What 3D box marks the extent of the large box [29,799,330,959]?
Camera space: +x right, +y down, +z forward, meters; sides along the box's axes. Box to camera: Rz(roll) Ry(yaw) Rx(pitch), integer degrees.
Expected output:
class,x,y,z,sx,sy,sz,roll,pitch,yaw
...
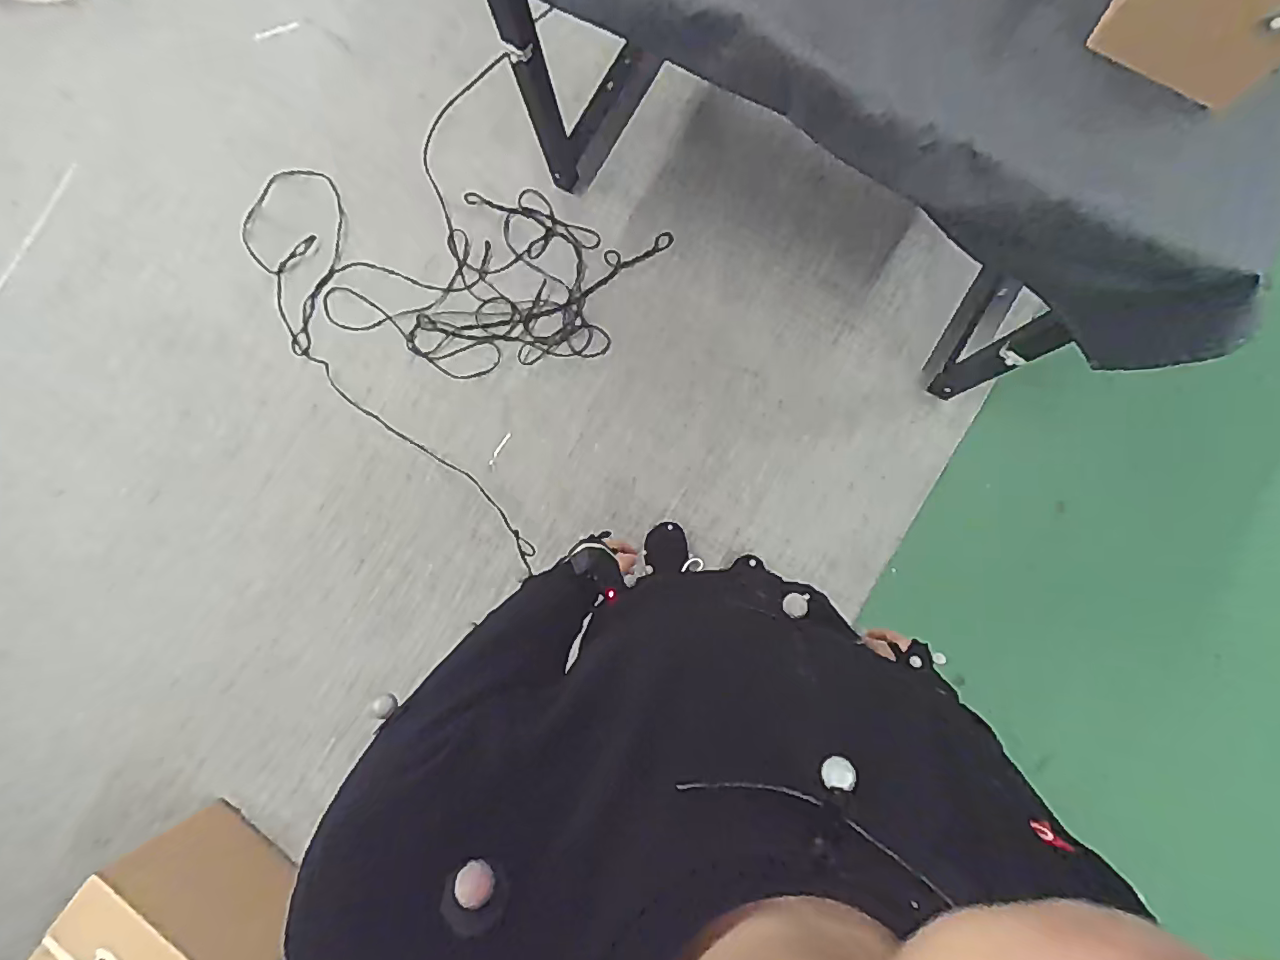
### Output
class,x,y,z,sx,sy,sz,roll,pitch,yaw
large box,-1.031,1.044,1.232,0.408,0.320,0.320,36,89,6
